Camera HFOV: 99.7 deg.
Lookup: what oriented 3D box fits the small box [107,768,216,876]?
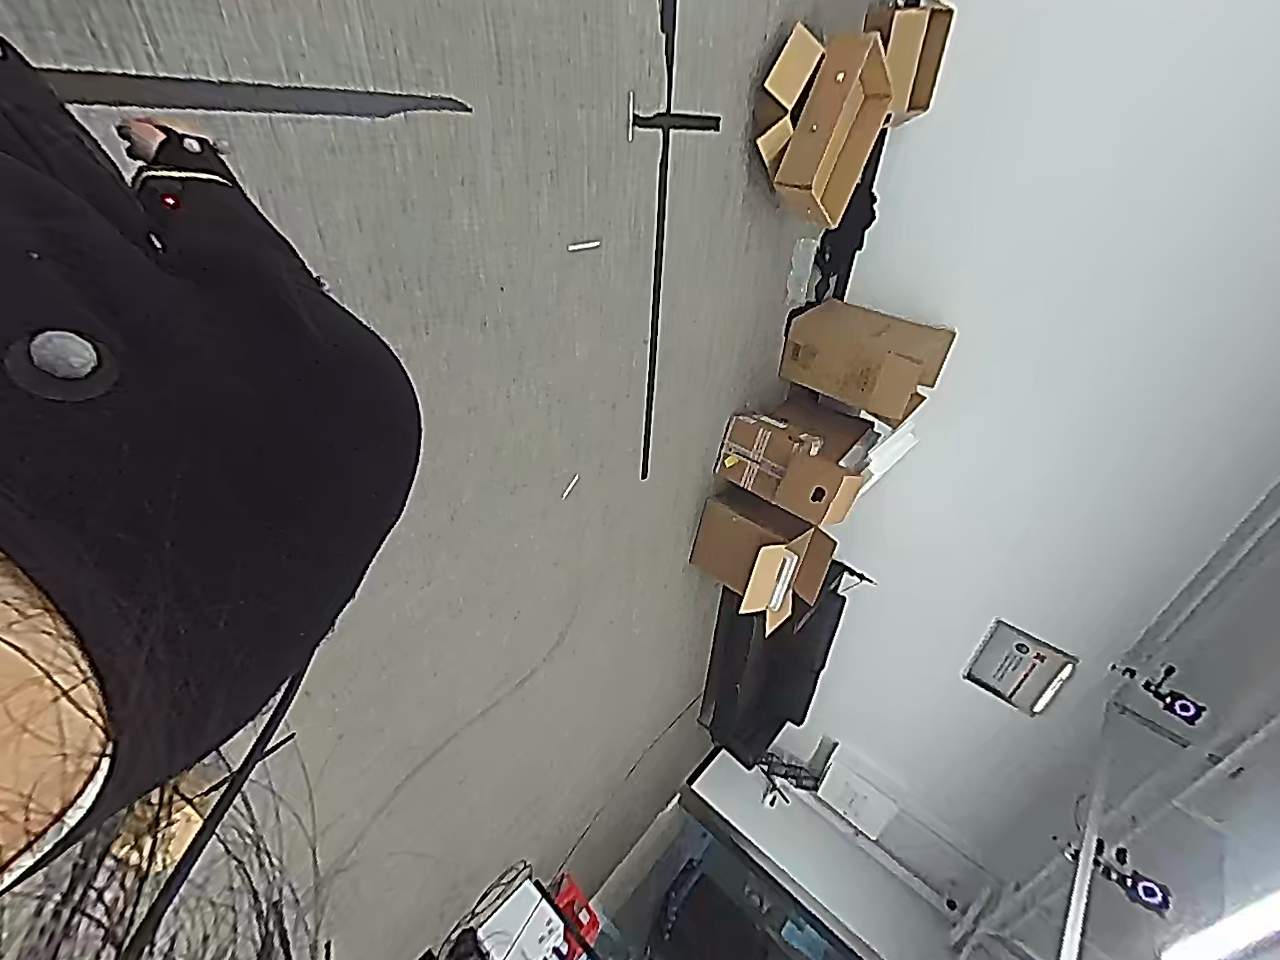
[{"bbox_3d":[-1.365,0.970,1.545,0.168,0.176,0.179,-32,140,-38],"label":"small box"}]
